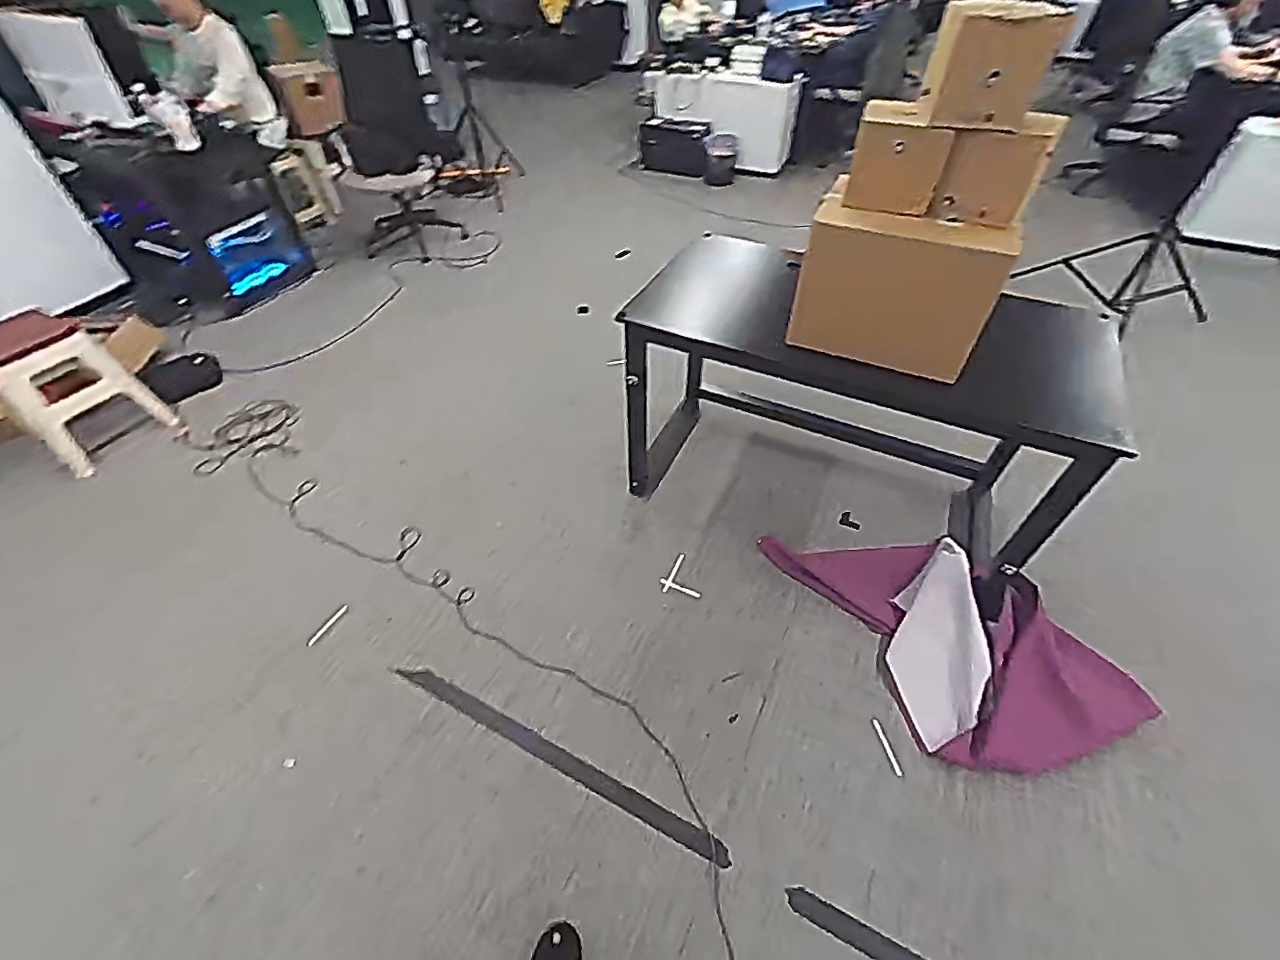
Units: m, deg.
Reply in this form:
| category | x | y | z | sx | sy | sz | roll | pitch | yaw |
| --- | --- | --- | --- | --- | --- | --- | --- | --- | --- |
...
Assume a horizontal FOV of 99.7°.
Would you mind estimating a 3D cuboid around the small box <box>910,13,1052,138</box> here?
| category | x | y | z | sx | sy | sz | roll | pitch | yaw |
| --- | --- | --- | --- | --- | --- | --- | --- | --- | --- |
| small box | 0.640 | -0.776 | 1.040 | 0.168 | 0.176 | 0.179 | 9 | 48 | 9 |

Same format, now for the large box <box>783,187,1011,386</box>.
| category | x | y | z | sx | sy | sz | roll | pitch | yaw |
| --- | --- | --- | --- | --- | --- | --- | --- | --- | --- |
| large box | 0.602 | -0.474 | 1.313 | 0.408 | 0.320 | 0.320 | 19 | 50 | 16 |

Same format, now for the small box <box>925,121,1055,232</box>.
| category | x | y | z | sx | sy | sz | roll | pitch | yaw |
| --- | --- | --- | --- | --- | --- | --- | --- | --- | --- |
| small box | 0.726 | -0.642 | 1.136 | 0.168 | 0.176 | 0.179 | 28 | 51 | 25 |
